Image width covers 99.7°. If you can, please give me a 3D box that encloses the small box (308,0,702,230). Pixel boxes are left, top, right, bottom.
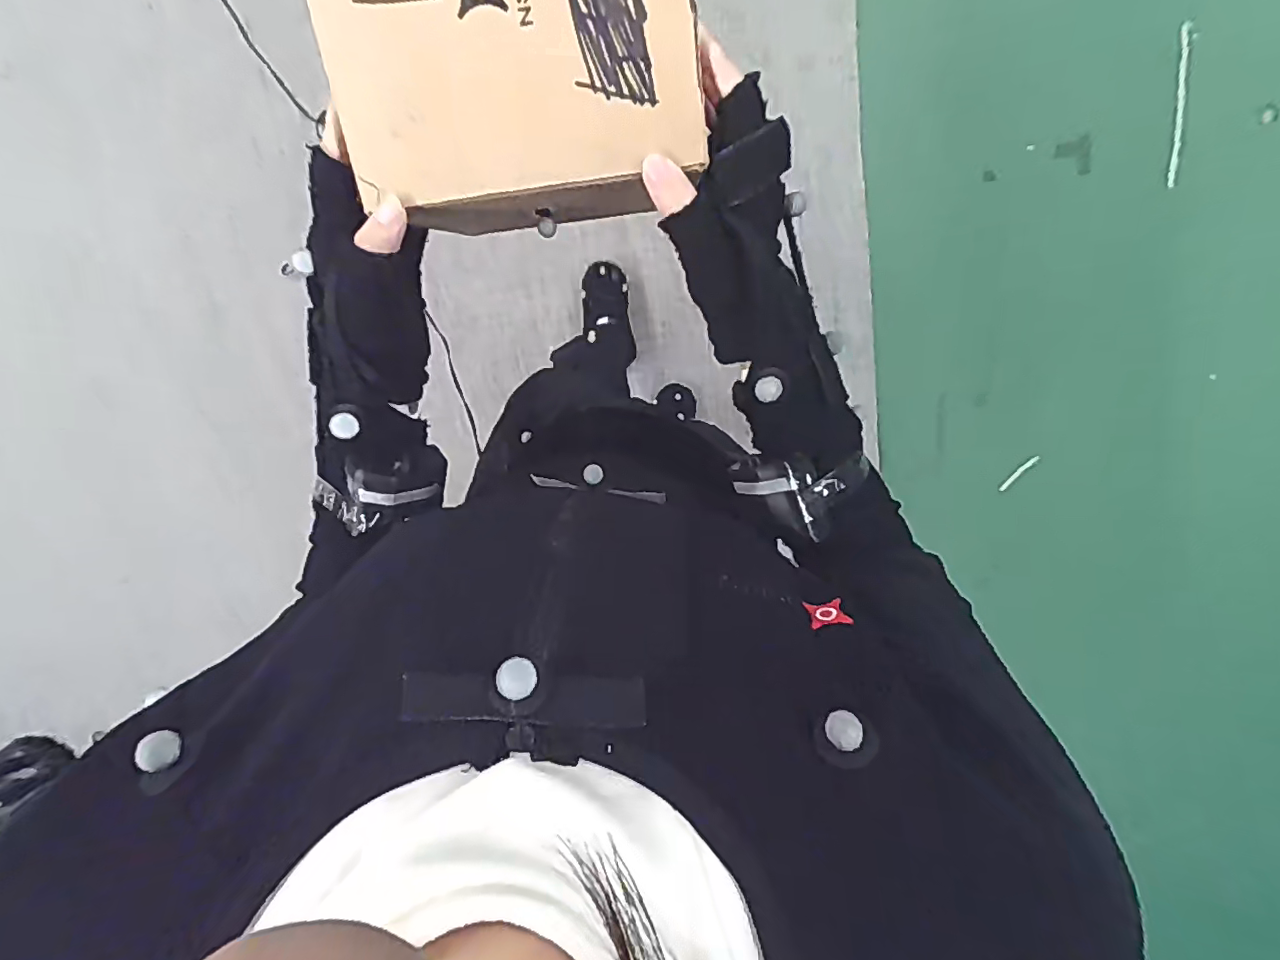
[{"bbox_3d":[-0.063,-0.250,0.318,0.179,0.176,0.168,-6,111,4],"label":"small box"}]

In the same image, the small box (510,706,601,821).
[{"bbox_3d":[-0.184,0.633,1.229,0.168,0.176,0.179,-5,103,4],"label":"small box"}]
